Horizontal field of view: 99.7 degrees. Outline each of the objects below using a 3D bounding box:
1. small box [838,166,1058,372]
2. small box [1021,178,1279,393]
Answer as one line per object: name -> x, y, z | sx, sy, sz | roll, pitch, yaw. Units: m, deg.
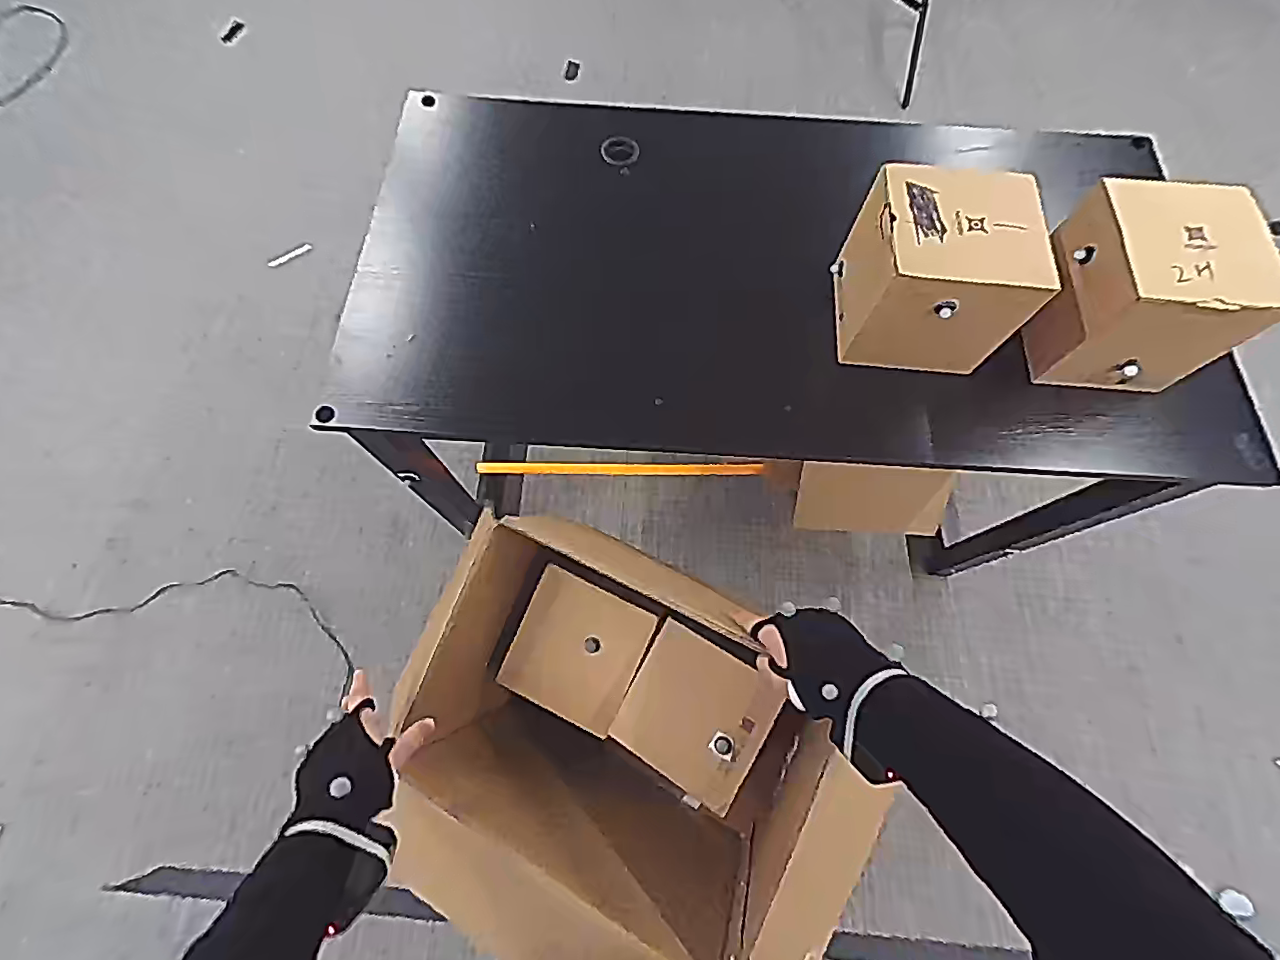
small box -> 0.354, -0.249, 0.666 | 0.179, 0.176, 0.168 | 5, 69, 0
small box -> 0.599, -0.230, 0.662 | 0.168, 0.176, 0.179 | 4, 69, 2
